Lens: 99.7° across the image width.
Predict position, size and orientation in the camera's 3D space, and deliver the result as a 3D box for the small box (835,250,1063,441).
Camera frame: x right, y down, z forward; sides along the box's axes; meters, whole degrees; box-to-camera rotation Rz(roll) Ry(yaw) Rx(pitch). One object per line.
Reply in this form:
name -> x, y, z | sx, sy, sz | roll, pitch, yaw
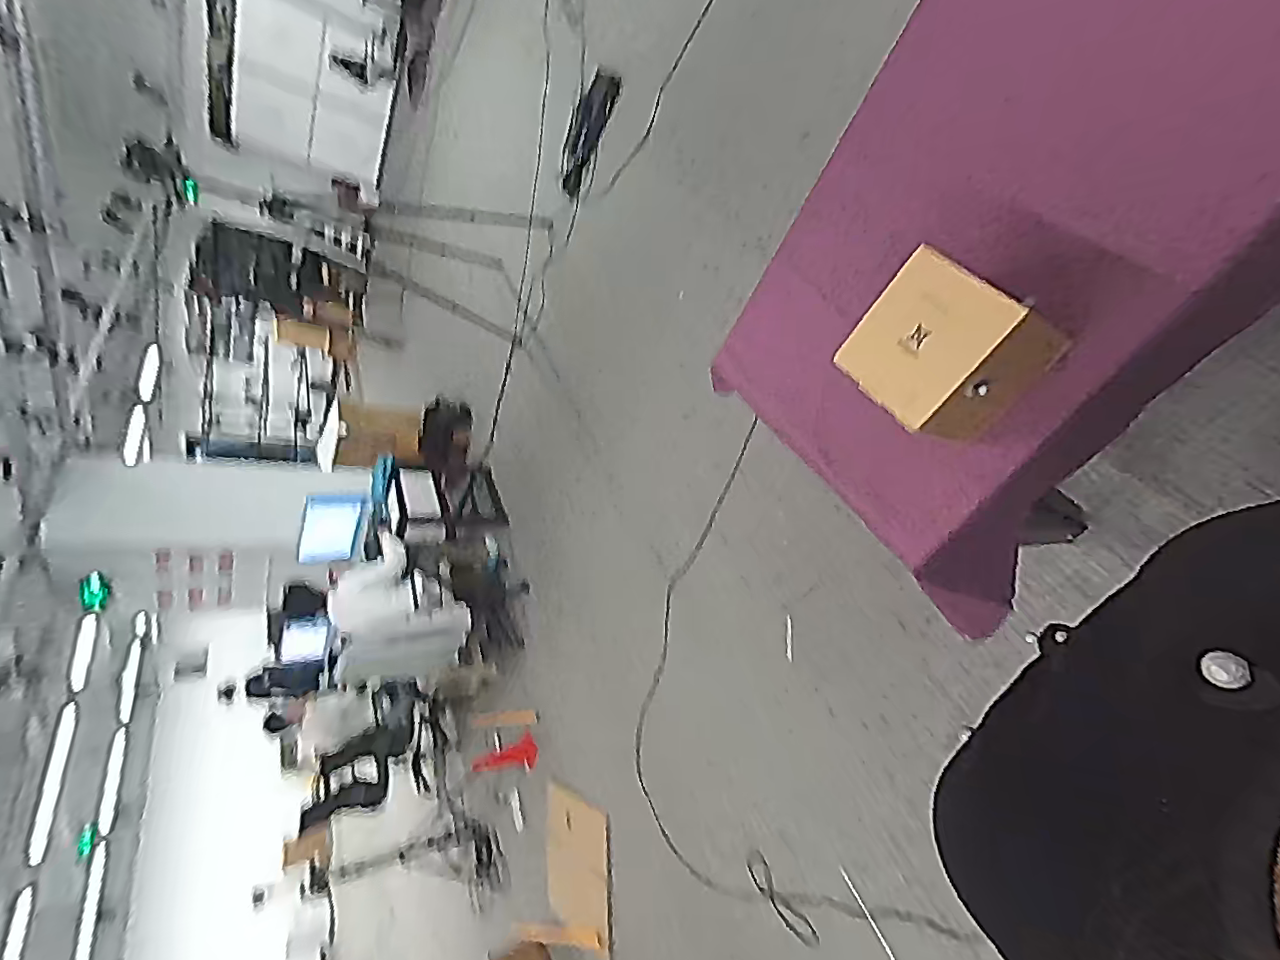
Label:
small box -> 0.413, -0.169, 0.729 | 0.179, 0.176, 0.168 | -58, 46, 32
